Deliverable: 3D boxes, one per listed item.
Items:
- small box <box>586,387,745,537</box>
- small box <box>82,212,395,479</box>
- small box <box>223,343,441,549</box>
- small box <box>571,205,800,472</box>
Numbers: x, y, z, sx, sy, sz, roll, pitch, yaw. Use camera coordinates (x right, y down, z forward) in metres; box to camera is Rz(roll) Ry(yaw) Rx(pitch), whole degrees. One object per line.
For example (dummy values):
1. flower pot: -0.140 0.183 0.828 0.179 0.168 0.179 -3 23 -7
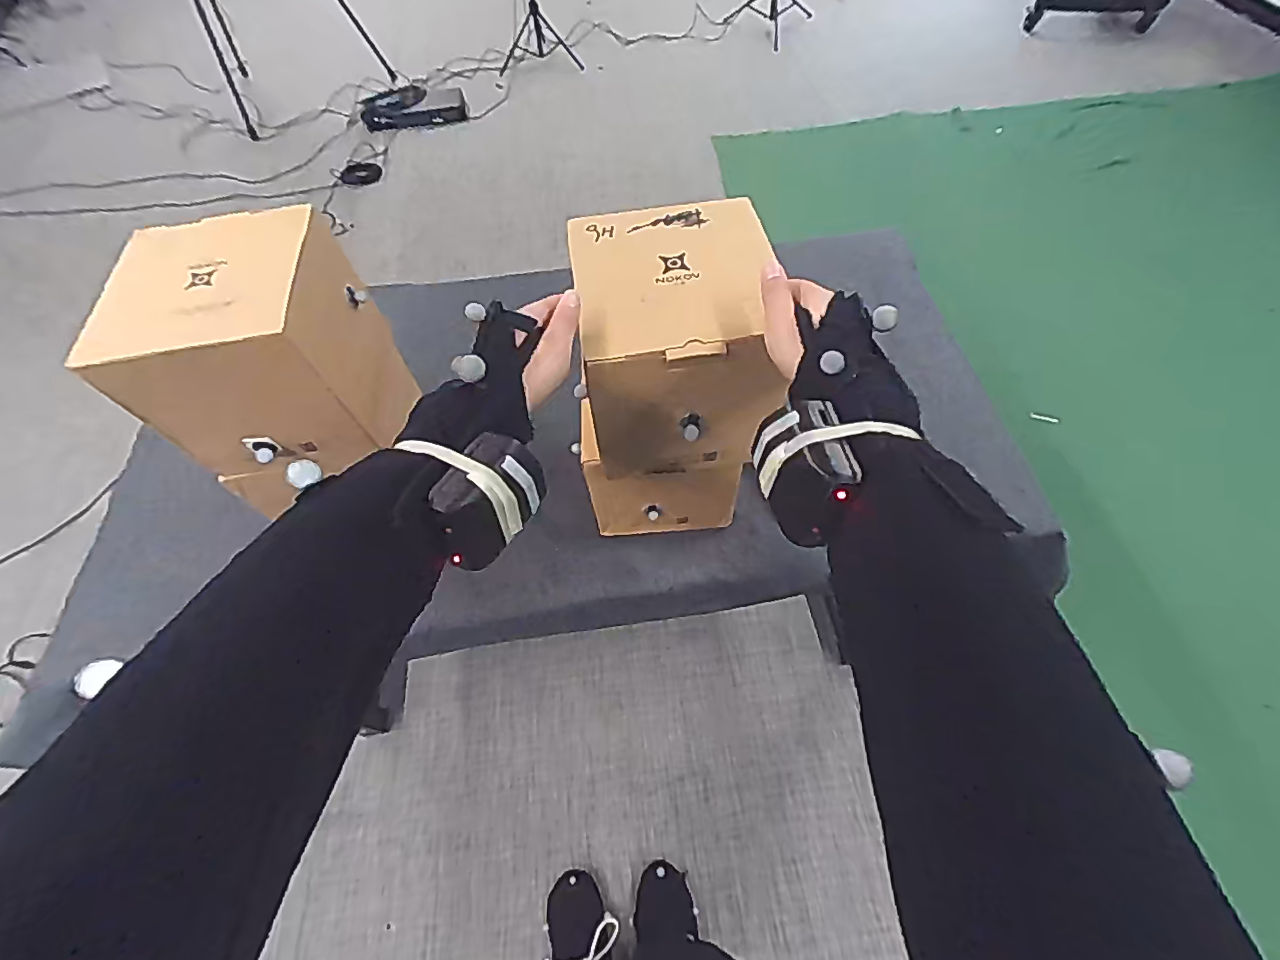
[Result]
1. small box: 0.024 -0.048 0.655 0.168 0.176 0.179 -5 58 0
2. small box: -0.358 -0.126 0.528 0.168 0.176 0.179 -11 59 -3
3. small box: -0.356 -0.038 0.666 0.168 0.176 0.179 -11 59 -4
4. small box: 0.033 -0.121 0.508 0.168 0.176 0.179 -8 59 -2
